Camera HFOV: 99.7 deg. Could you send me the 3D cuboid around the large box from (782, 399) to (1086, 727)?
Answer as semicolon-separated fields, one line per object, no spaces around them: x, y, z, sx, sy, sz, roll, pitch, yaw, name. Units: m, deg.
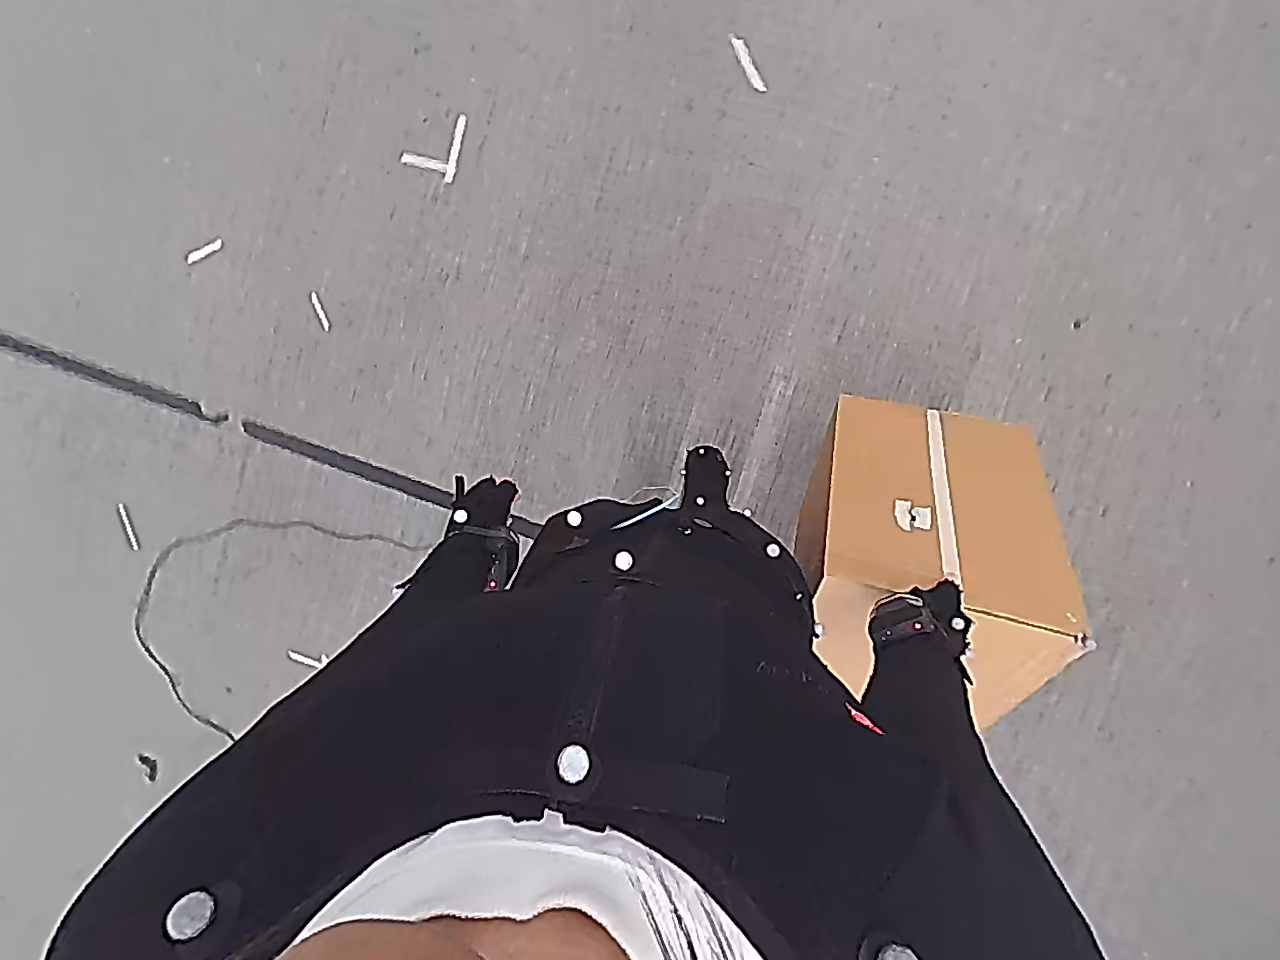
0.439;0.126;0.911;0.320;0.408;0.320;12;137;11;large box
